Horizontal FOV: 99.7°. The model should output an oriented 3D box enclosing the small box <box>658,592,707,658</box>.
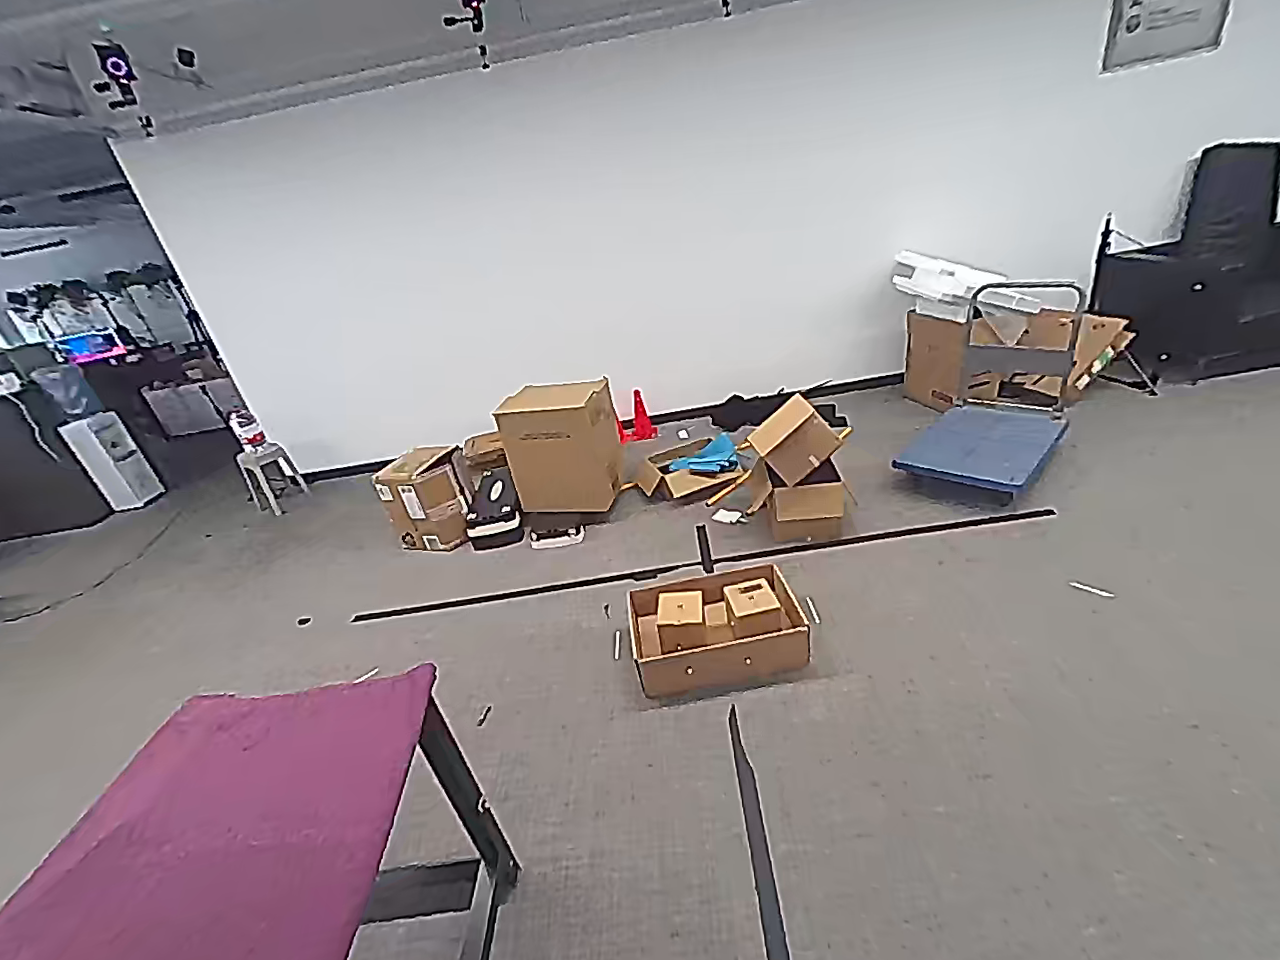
[{"bbox_3d":[0.162,0.546,2.039,0.168,0.176,0.179,-5,27,8],"label":"small box"}]
